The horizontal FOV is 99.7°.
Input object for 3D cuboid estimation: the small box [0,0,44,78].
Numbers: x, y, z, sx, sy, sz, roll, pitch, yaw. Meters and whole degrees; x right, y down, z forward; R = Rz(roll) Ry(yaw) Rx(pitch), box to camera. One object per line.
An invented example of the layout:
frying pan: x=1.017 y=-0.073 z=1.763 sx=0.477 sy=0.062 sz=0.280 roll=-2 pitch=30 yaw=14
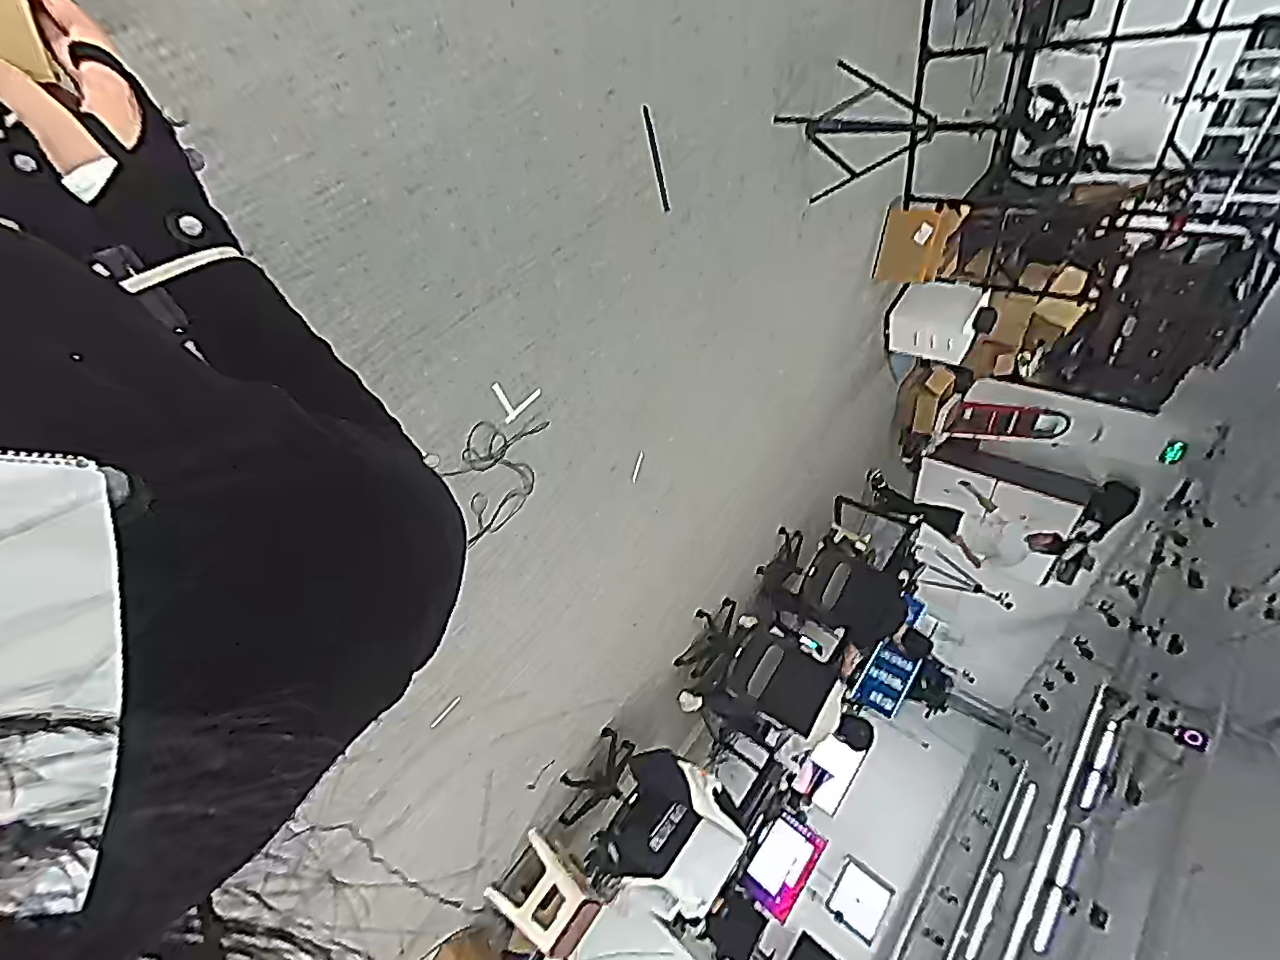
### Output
small box: x=-0.484 y=-0.335 z=0.297 sx=0.179 sy=0.176 sz=0.168 roll=-21 pitch=132 yaw=-37
